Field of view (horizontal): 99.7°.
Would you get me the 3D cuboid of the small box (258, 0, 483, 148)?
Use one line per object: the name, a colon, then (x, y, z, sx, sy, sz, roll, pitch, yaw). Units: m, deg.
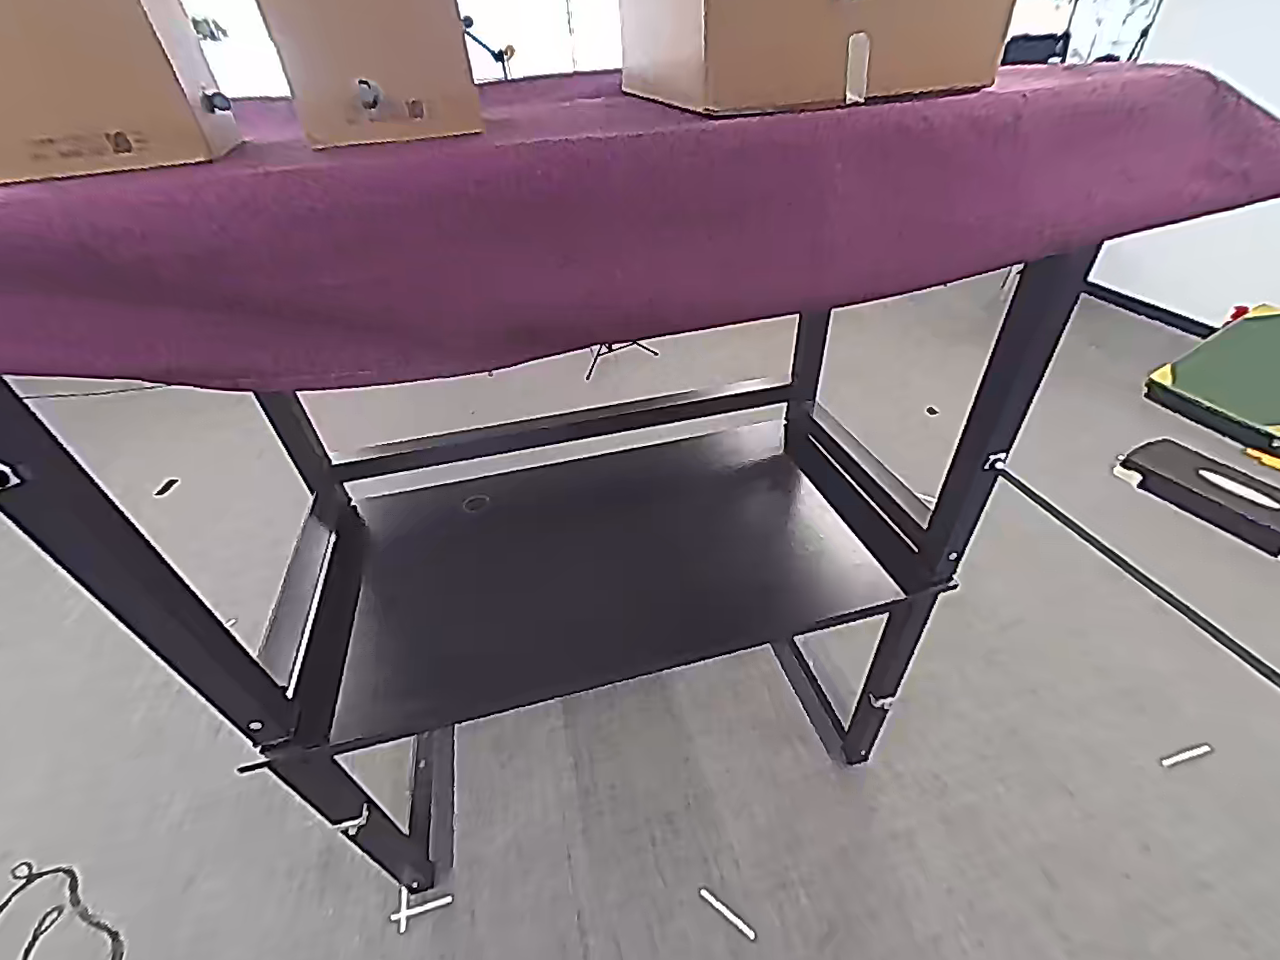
small box: (-0.260, -0.440, 0.537, 0.168, 0.176, 0.179, -13, 40, -9)

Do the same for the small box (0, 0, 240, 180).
small box: (-0.486, -0.369, 0.468, 0.168, 0.176, 0.179, -18, 40, -16)

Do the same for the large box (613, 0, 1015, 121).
large box: (0.152, -0.594, 0.580, 0.320, 0.320, 0.408, -10, 38, -8)
